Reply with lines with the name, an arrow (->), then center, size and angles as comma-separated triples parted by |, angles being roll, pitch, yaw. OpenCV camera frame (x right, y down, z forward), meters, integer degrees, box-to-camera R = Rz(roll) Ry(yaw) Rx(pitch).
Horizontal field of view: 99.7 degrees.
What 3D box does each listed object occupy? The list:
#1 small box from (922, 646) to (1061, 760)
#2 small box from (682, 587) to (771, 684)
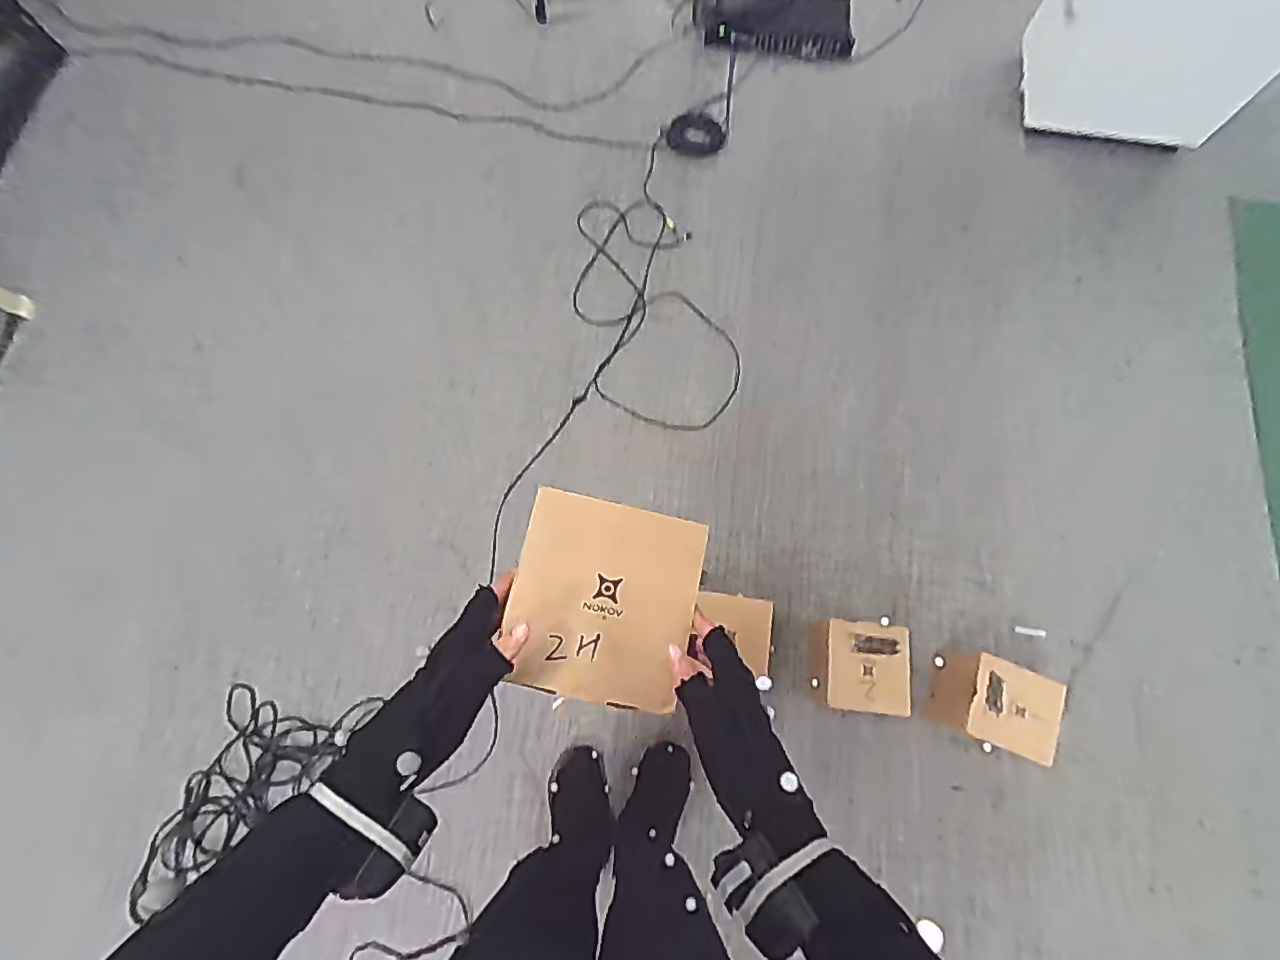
small box -> 0.742, 0.468, 1.159 | 0.179, 0.176, 0.168 | 22, 75, 5
small box -> 0.187, 0.345, 1.203 | 0.168, 0.176, 0.179 | 8, 74, 3
